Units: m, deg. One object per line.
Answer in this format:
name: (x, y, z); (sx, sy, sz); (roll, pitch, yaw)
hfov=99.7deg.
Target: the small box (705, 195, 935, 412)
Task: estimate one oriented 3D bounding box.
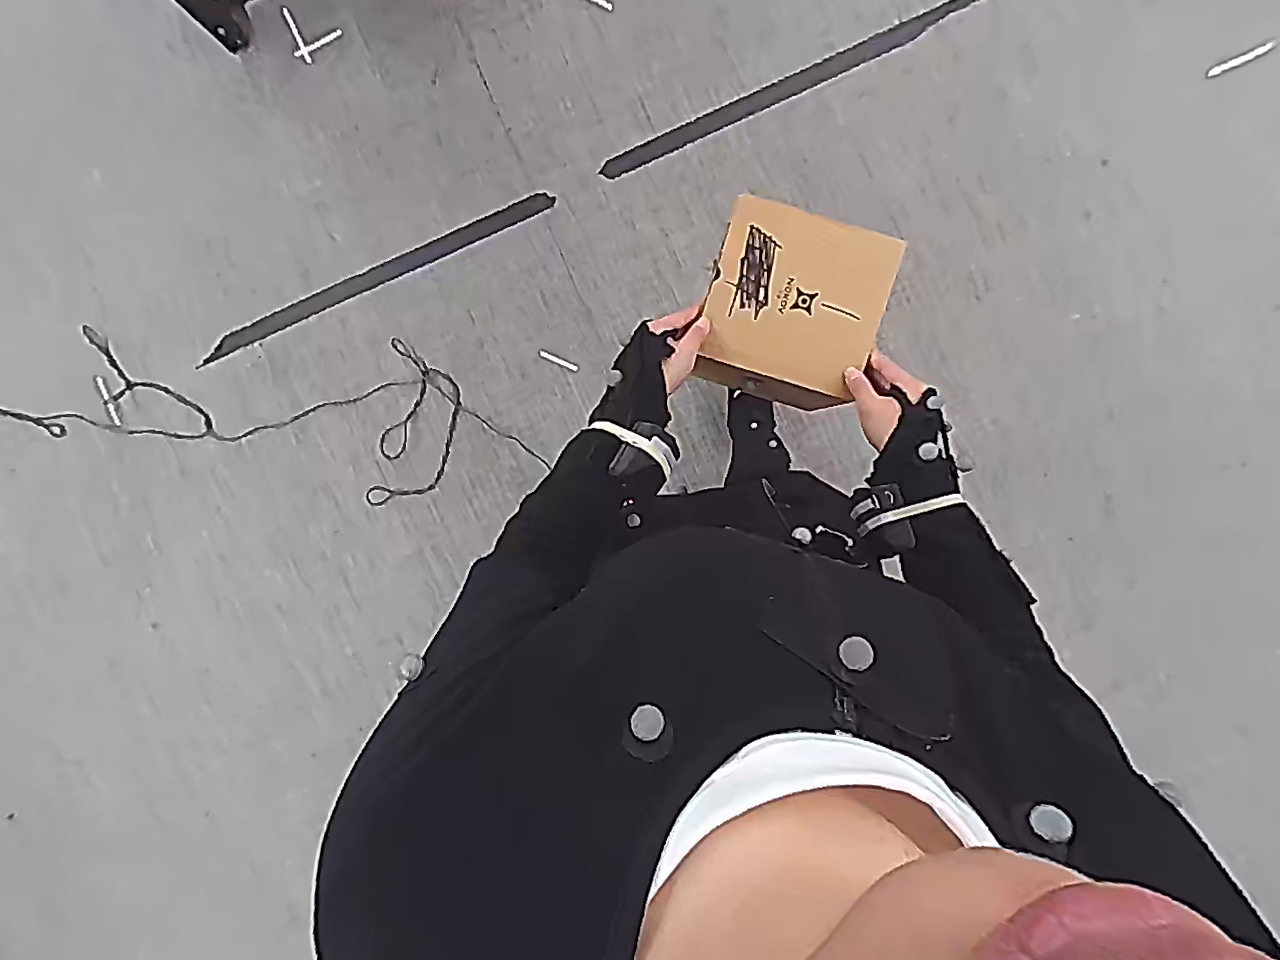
small box: (0.183, -0.181, 0.615); (0.179, 0.176, 0.168); (22, 96, 1)
